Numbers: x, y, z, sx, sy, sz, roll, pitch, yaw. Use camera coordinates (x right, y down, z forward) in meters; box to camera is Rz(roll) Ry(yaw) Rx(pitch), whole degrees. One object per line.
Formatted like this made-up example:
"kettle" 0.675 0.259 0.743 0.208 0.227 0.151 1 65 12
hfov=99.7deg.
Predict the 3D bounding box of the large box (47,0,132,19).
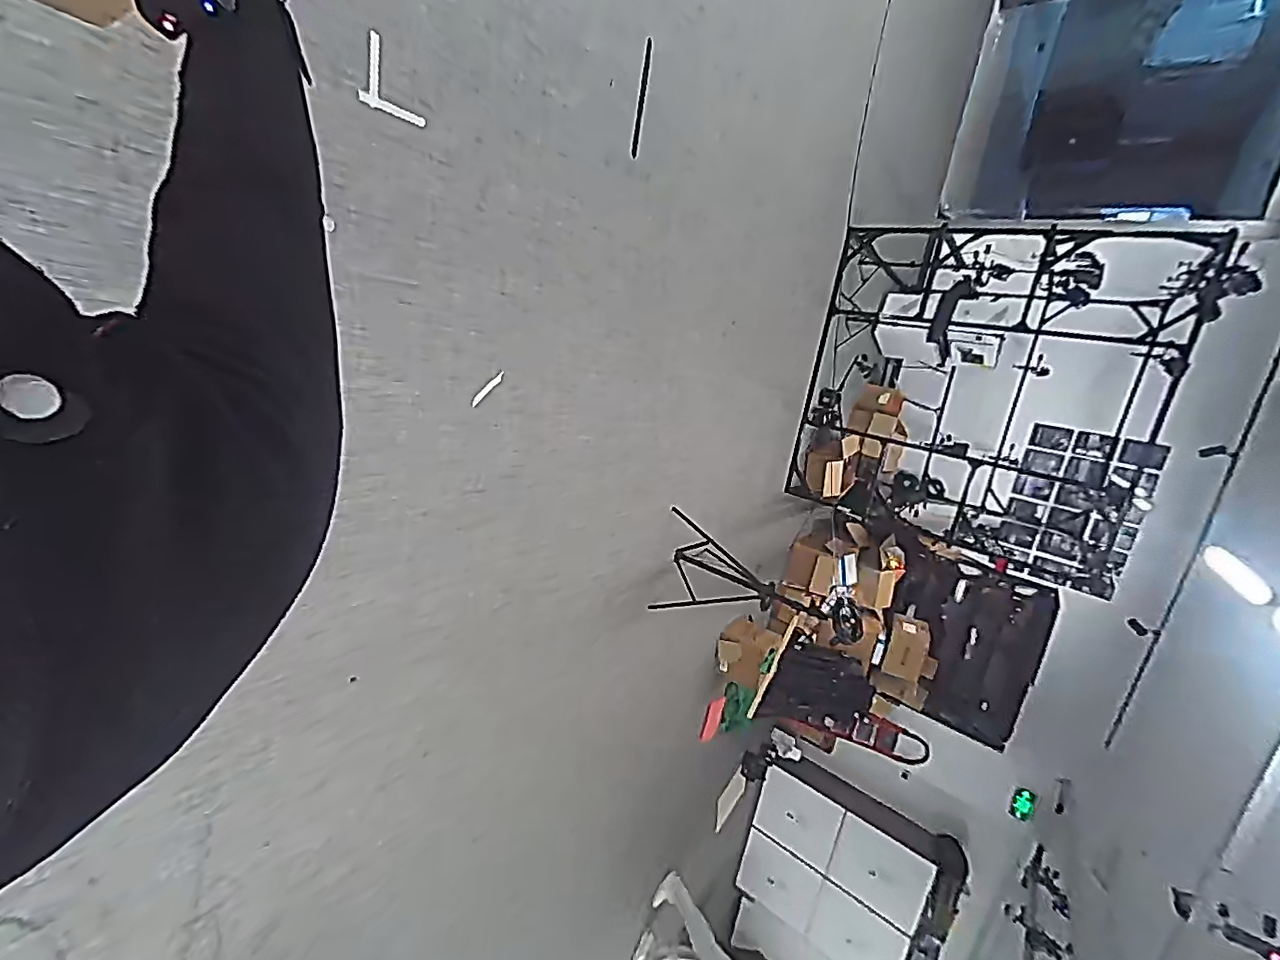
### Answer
"large box" -0.529 -0.542 0.278 0.408 0.320 0.320 -8 117 -52
